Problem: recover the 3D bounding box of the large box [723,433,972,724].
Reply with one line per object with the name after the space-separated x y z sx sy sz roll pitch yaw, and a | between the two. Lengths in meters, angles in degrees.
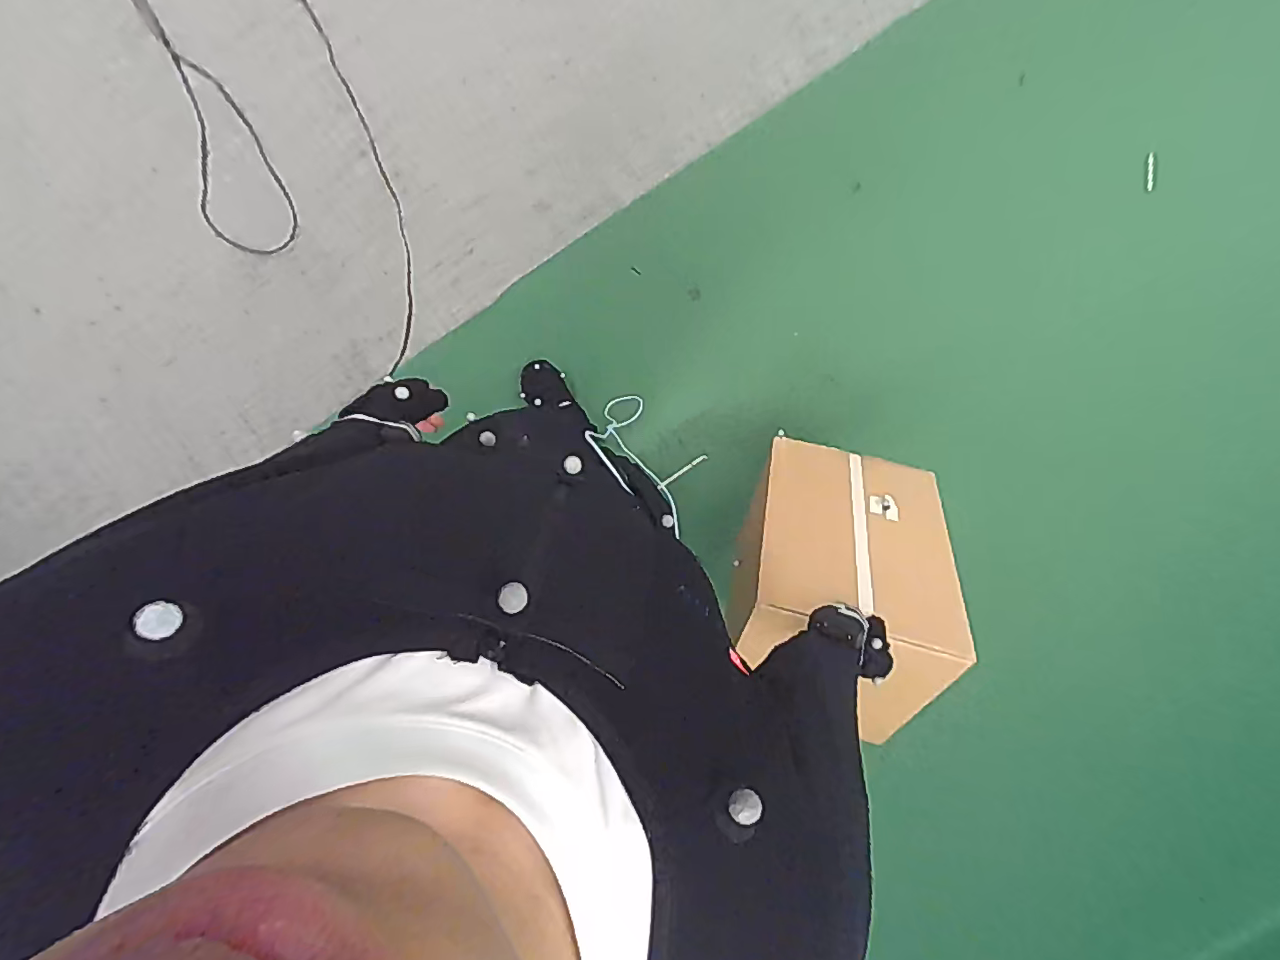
0.354 0.176 1.023 0.320 0.408 0.320 14 134 5 | large box
